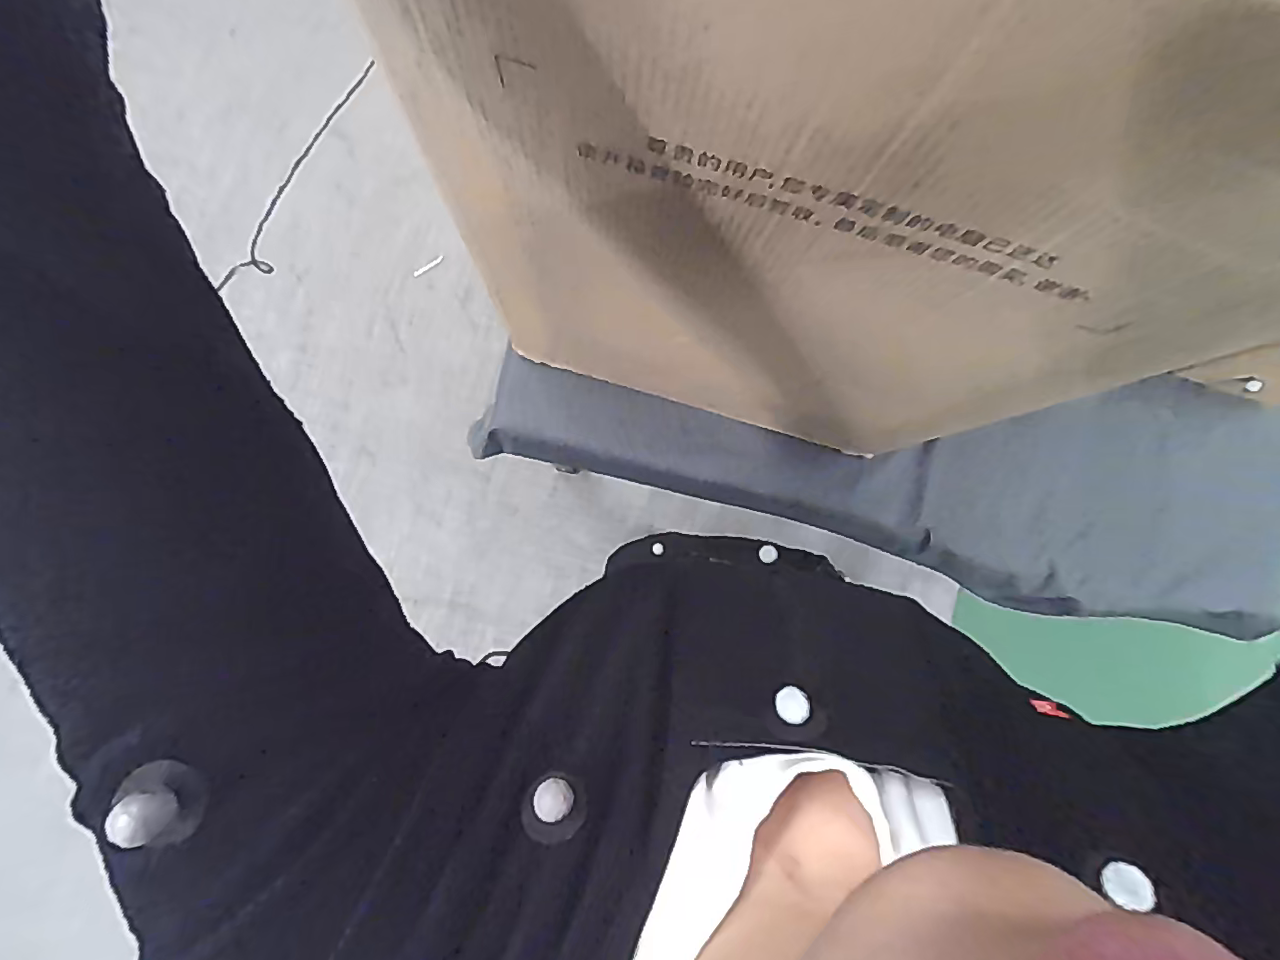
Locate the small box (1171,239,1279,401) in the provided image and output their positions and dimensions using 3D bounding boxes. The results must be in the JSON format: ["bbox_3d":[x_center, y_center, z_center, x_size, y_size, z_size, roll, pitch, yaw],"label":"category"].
[{"bbox_3d":[0.919,-0.231,0.766,0.168,0.176,0.179,17,85,-2],"label":"small box"}]
